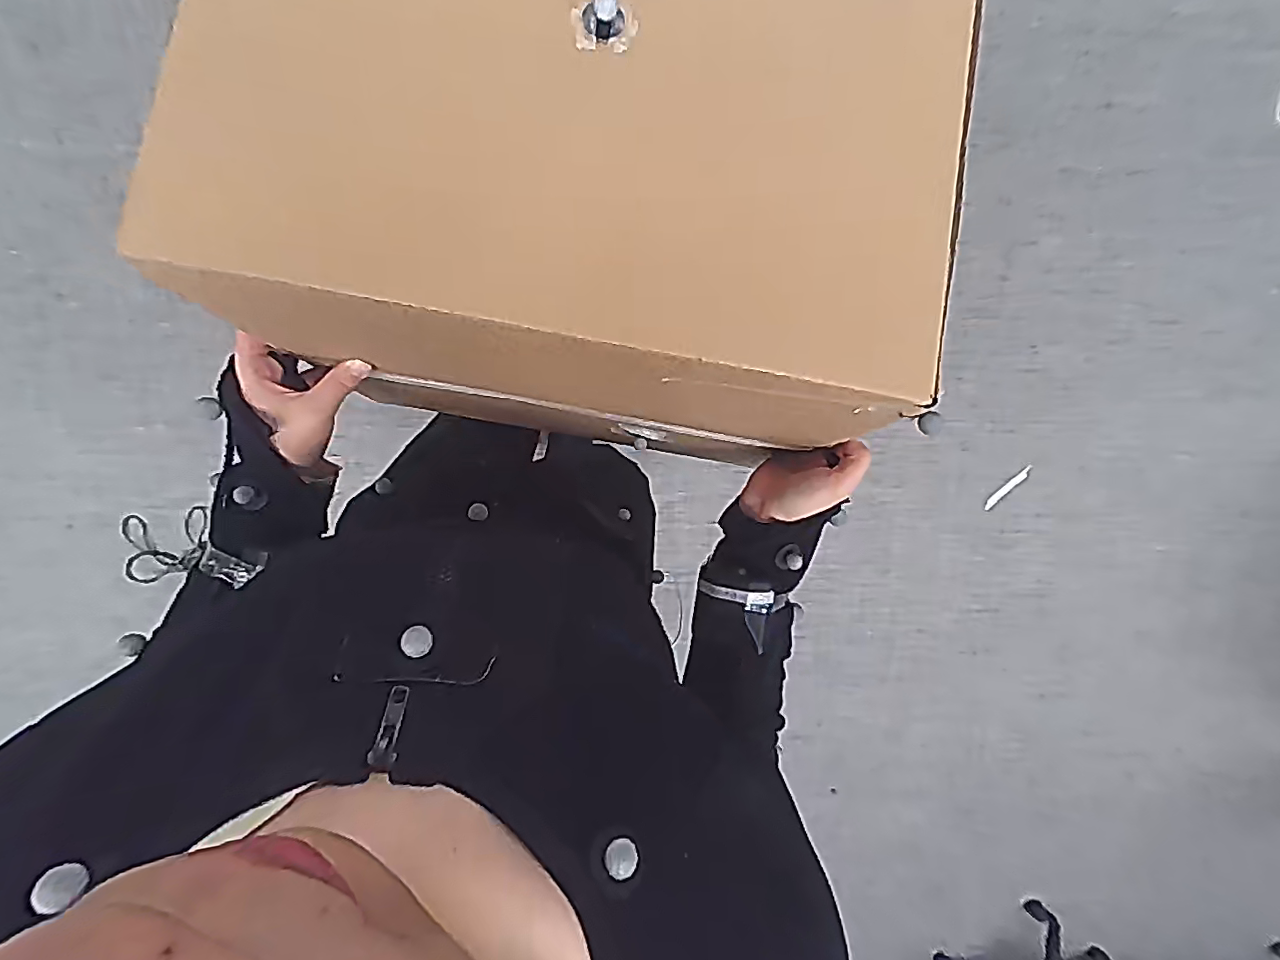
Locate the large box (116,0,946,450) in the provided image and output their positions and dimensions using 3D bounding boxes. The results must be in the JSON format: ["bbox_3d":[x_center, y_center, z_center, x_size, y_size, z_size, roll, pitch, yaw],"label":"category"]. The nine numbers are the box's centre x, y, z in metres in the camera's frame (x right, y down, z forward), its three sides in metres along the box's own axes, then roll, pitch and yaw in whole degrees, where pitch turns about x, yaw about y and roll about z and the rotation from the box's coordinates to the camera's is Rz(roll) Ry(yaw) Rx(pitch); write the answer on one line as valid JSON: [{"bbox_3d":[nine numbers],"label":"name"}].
[{"bbox_3d":[-0.046,-0.219,0.424,0.408,0.320,0.320,8,87,-3],"label":"large box"}]
